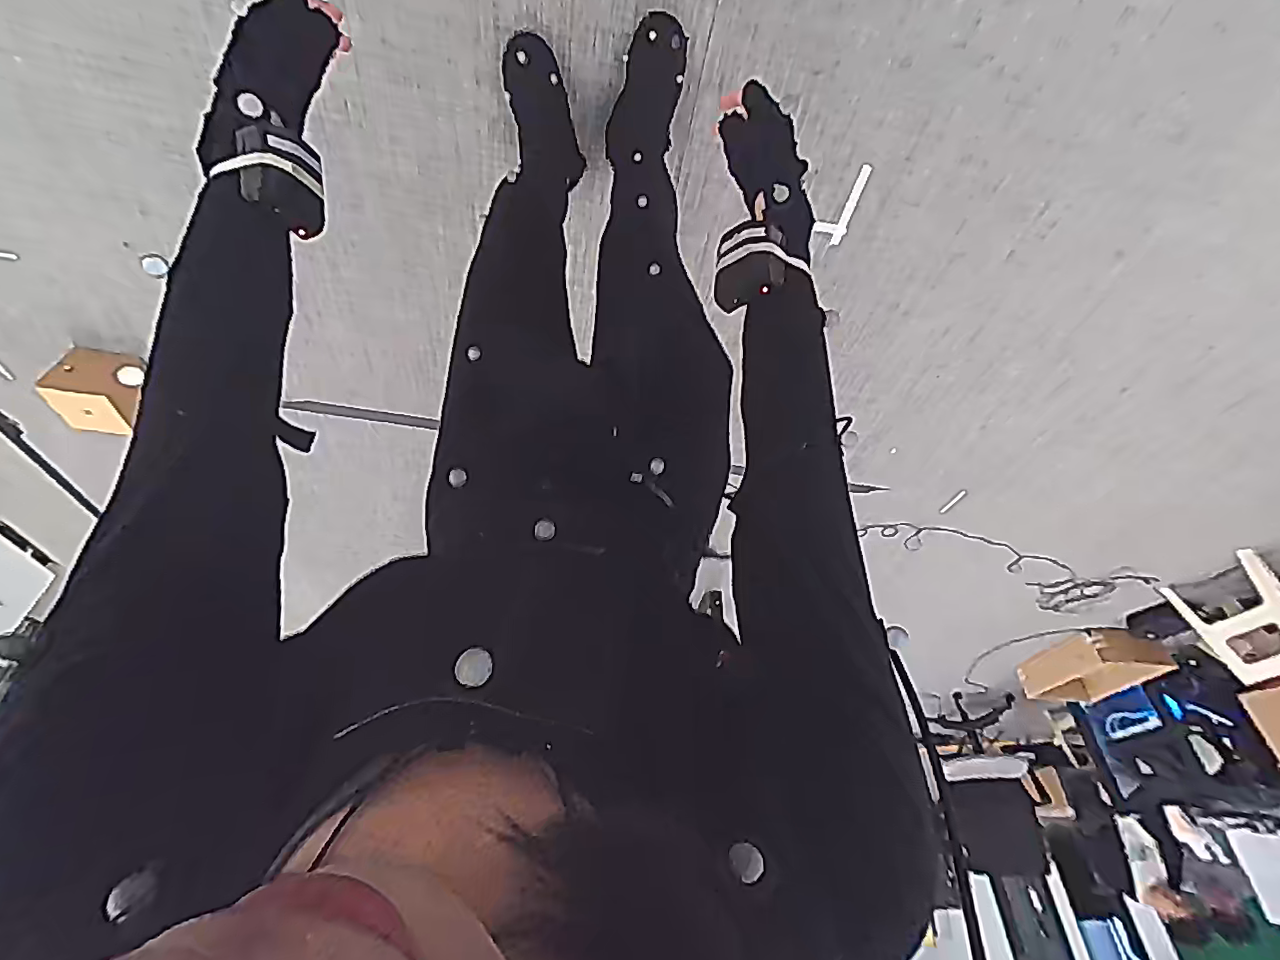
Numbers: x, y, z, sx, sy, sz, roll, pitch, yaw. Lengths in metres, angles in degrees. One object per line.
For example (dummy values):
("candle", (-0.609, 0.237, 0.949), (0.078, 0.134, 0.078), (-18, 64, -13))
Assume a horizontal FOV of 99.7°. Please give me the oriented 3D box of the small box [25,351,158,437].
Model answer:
("small box", (-1.550, -0.247, 1.543), (0.179, 0.176, 0.168), (7, 141, -8))
